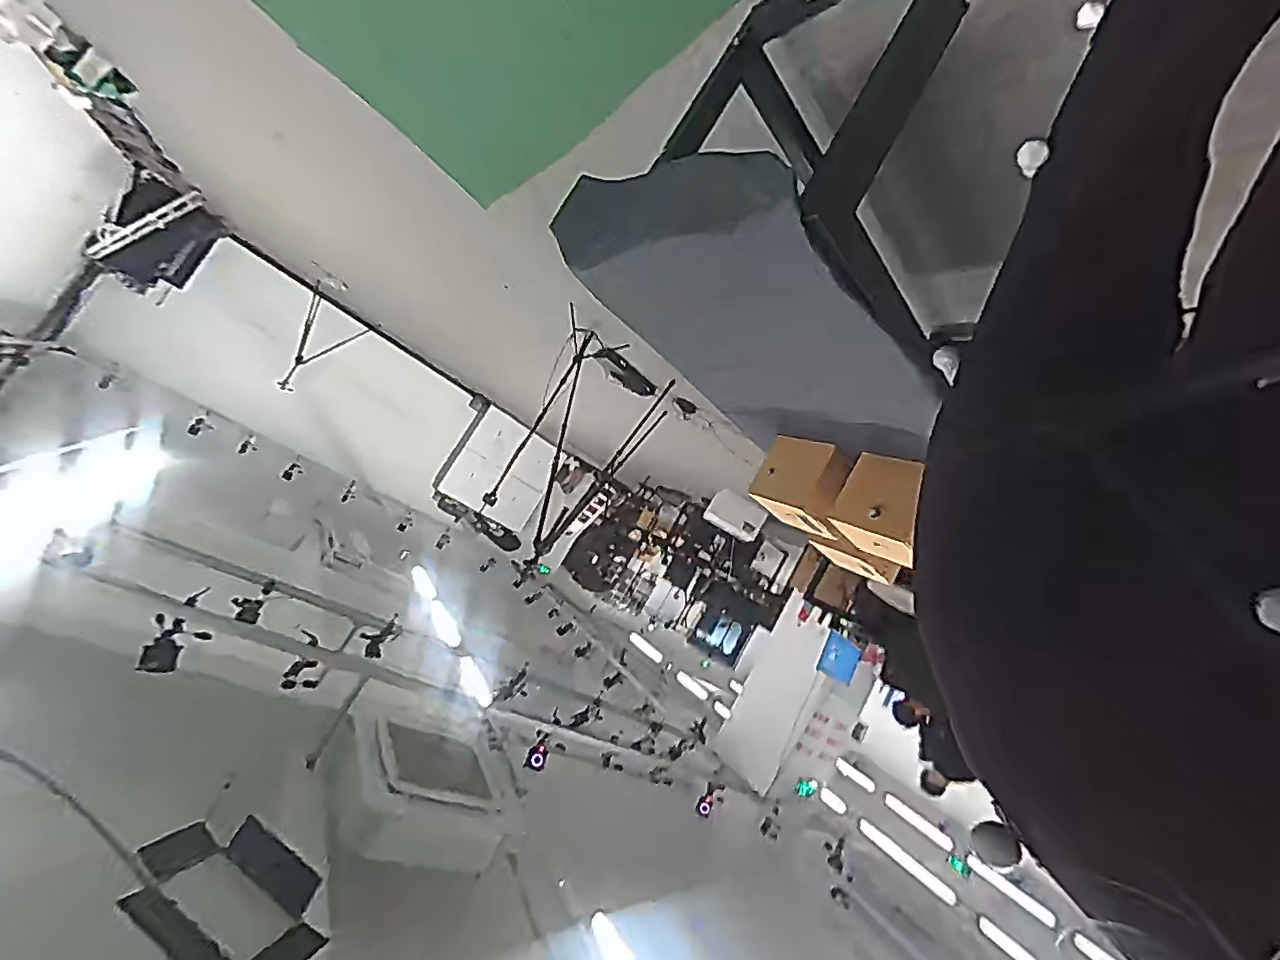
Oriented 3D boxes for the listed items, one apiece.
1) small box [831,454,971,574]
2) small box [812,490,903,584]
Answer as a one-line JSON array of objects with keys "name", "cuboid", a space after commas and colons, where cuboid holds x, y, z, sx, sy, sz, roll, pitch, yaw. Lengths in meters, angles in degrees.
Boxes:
[{"name": "small box", "cuboid": [0.538, 0.063, 1.114, 0.168, 0.176, 0.179, 36, 171, -36]}, {"name": "small box", "cuboid": [0.595, 0.144, 1.421, 0.168, 0.176, 0.179, 36, 171, -35]}]
